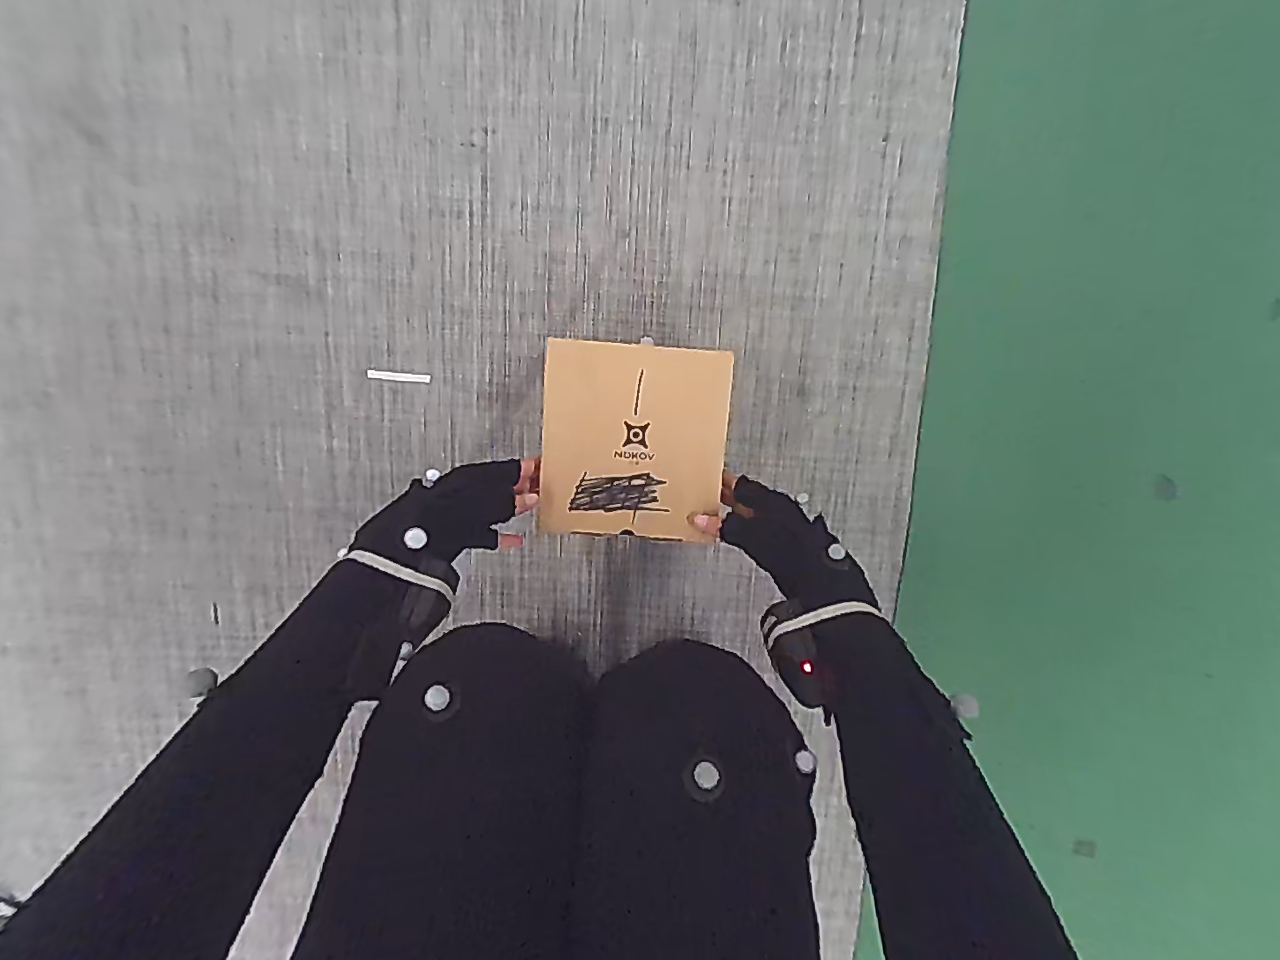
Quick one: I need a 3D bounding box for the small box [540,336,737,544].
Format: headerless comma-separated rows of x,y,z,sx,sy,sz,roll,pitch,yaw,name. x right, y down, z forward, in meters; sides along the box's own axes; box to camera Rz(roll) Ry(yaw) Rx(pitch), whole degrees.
-0.004,-0.046,0.561,0.168,0.176,0.179,5,99,-2,small box
